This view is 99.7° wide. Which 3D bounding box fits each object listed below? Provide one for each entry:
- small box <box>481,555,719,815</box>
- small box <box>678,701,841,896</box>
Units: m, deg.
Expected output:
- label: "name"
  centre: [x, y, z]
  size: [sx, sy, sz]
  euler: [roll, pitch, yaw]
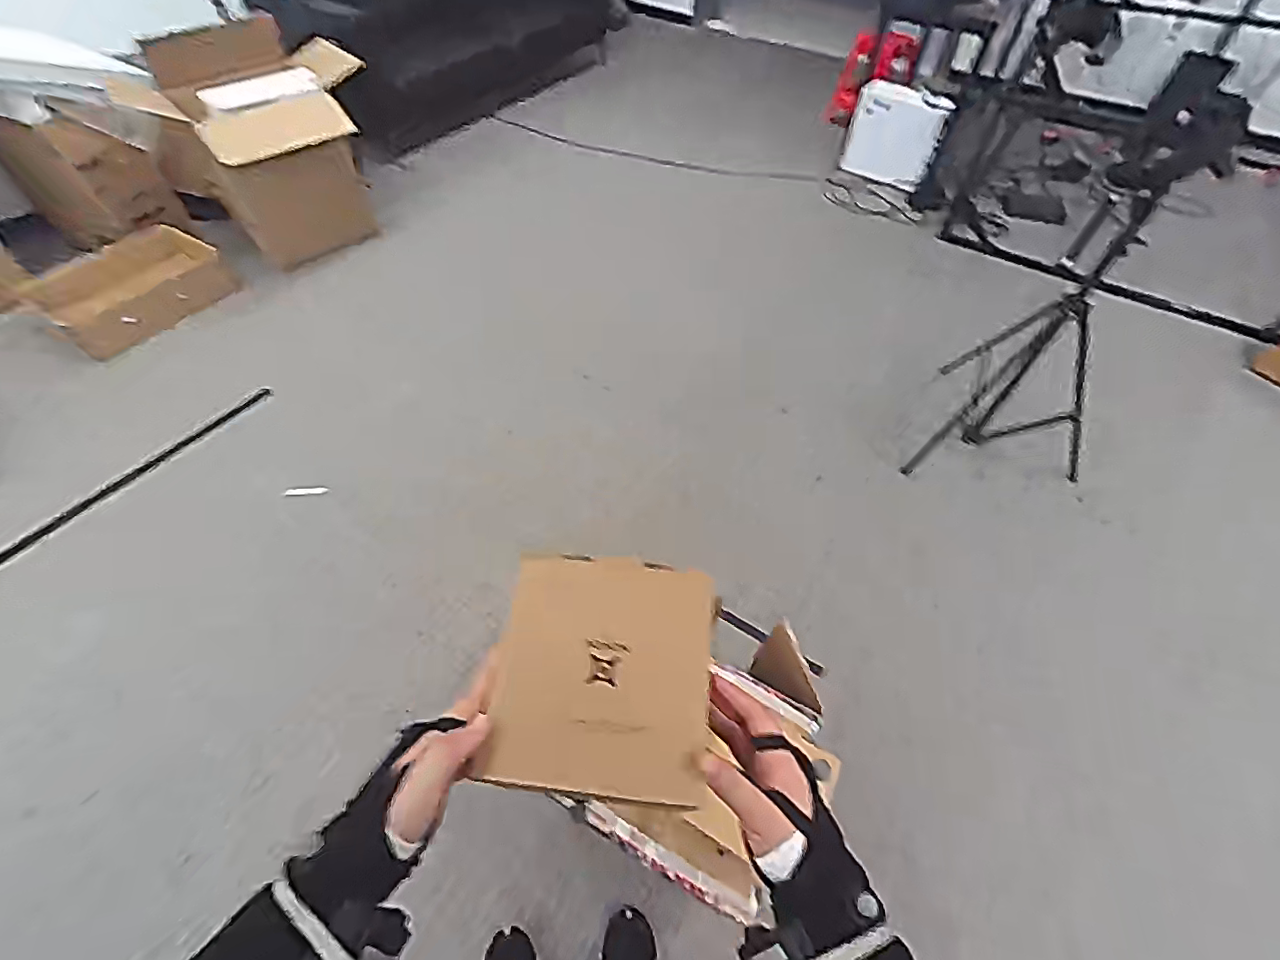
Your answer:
- label: "small box"
  centre: [-0.026, 0.191, 0.491]
  size: [0.168, 0.176, 0.179]
  euler: [6, 57, 3]
- label: "small box"
  centre: [0.165, 0.464, 0.795]
  size: [0.168, 0.176, 0.179]
  euler: [27, 59, 16]
